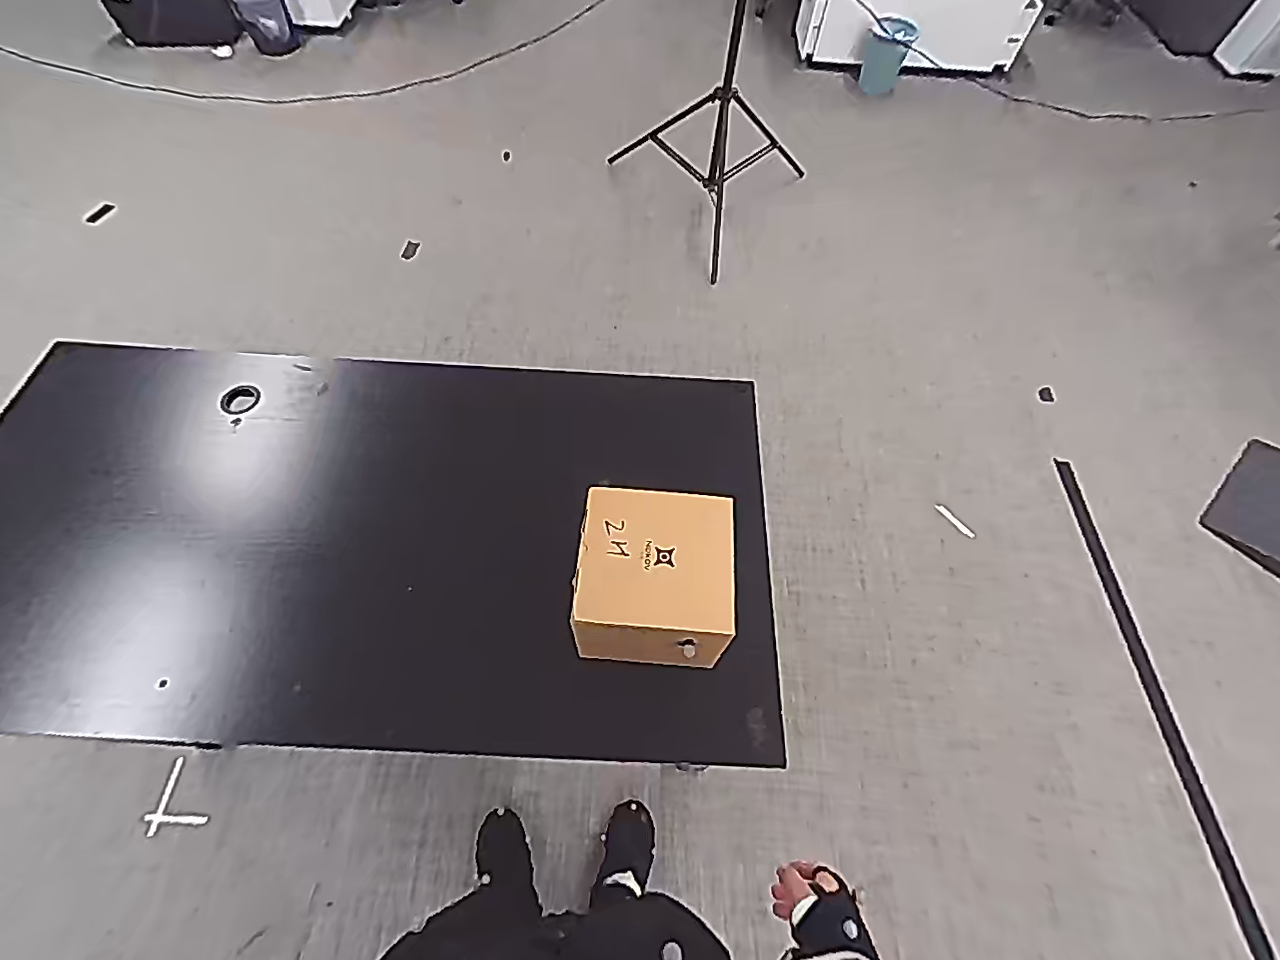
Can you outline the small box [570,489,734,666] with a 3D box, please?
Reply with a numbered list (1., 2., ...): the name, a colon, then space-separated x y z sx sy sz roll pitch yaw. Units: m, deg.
1. small box: 0.015 0.129 0.677 0.179 0.176 0.168 4 59 1
